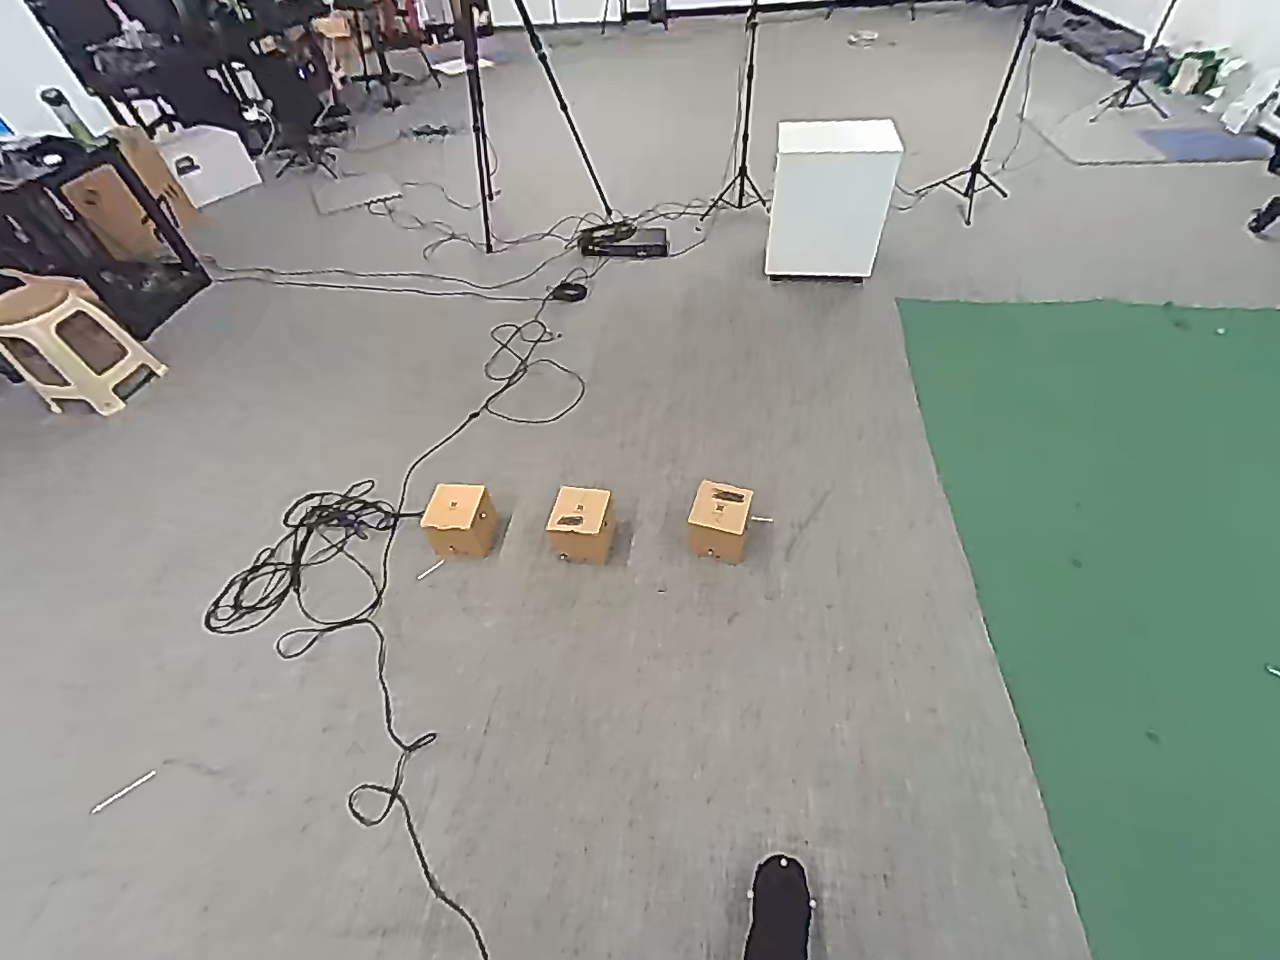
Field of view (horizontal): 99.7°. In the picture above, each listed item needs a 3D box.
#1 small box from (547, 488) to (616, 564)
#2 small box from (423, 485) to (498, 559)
[{"bbox_3d":[-0.179,0.149,1.727,0.168,0.176,0.179,6,49,10],"label":"small box"},{"bbox_3d":[-0.579,0.138,1.774,0.168,0.176,0.179,2,50,7],"label":"small box"}]
